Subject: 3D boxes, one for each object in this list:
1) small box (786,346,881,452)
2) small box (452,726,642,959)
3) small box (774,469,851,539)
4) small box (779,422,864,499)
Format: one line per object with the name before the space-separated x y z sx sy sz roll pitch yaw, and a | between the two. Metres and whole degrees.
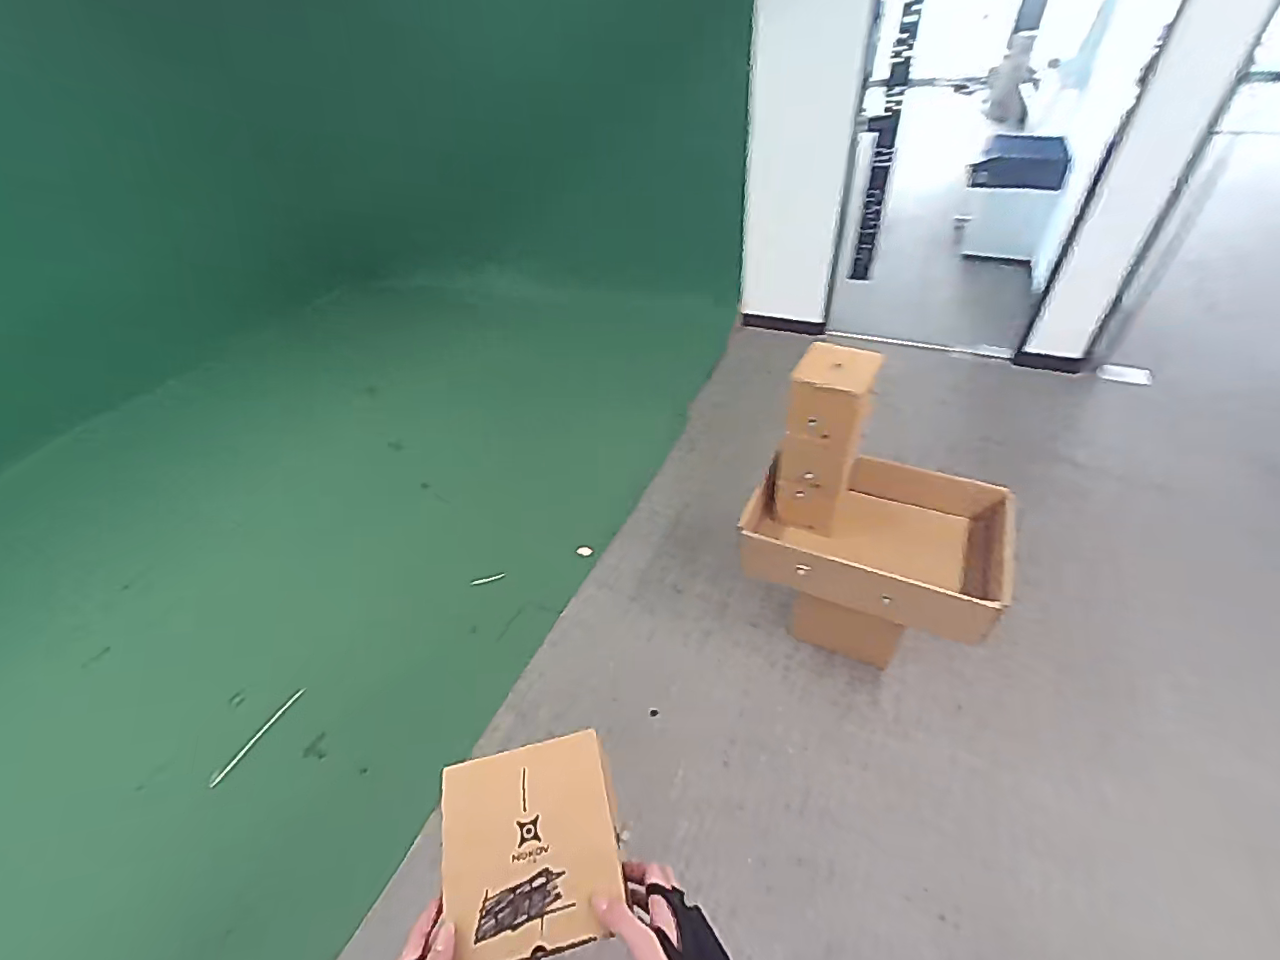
small box | 0.465 -0.198 1.320 0.168 0.176 0.179 20 50 25
small box | -0.095 0.395 0.585 0.168 0.176 0.179 -11 50 -6
small box | 0.489 0.036 1.546 0.168 0.176 0.179 17 49 23
small box | 0.476 -0.082 1.433 0.168 0.176 0.179 18 49 25
